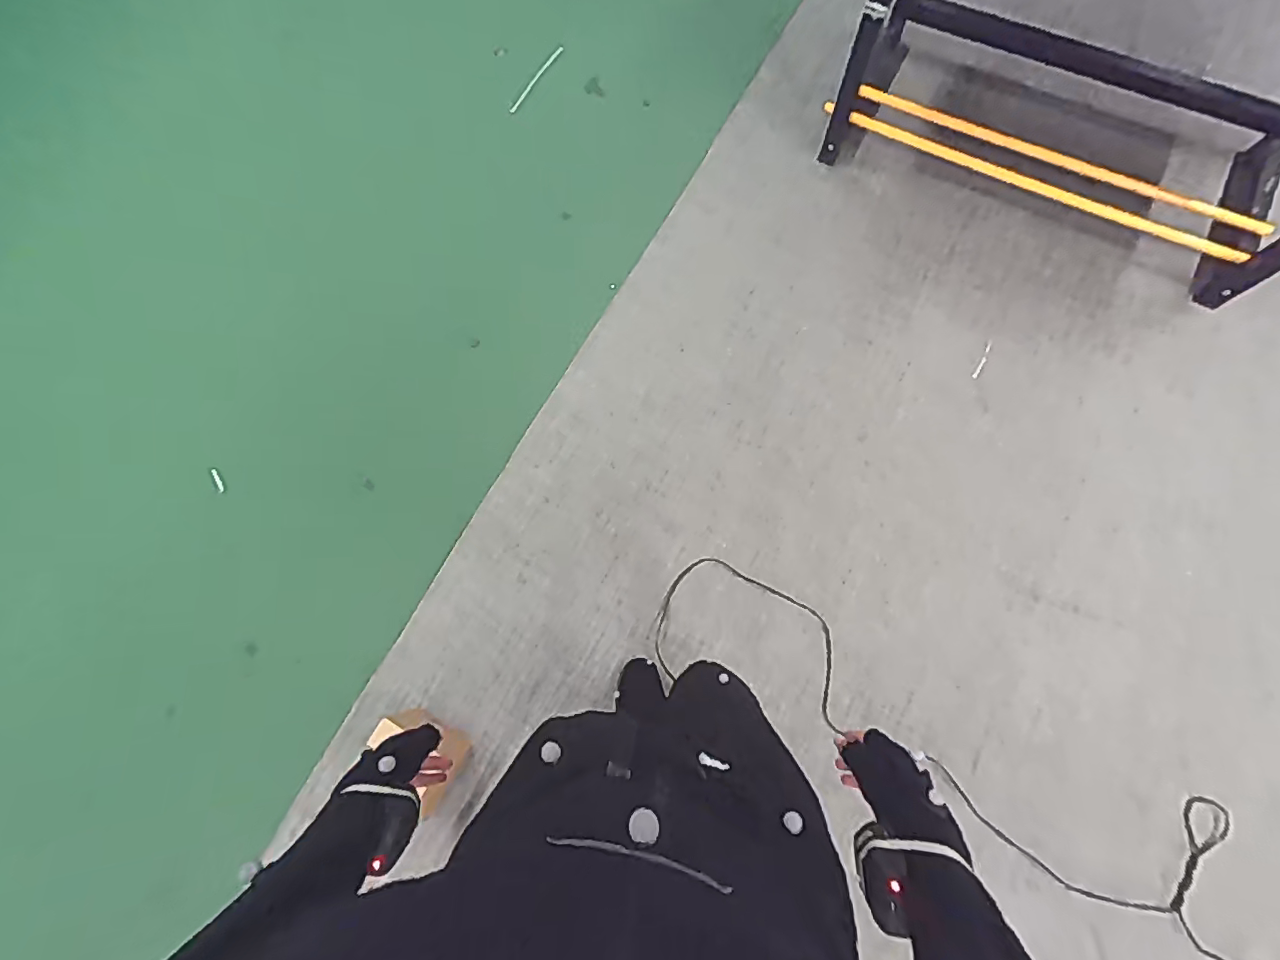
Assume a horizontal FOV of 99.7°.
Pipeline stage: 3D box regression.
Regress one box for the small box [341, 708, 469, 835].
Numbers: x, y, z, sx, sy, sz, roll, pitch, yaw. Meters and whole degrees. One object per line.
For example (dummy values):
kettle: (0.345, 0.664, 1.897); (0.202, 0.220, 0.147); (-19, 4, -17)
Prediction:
small box: (-0.507, 0.633, 1.203); (0.168, 0.176, 0.179); (28, 77, 11)
